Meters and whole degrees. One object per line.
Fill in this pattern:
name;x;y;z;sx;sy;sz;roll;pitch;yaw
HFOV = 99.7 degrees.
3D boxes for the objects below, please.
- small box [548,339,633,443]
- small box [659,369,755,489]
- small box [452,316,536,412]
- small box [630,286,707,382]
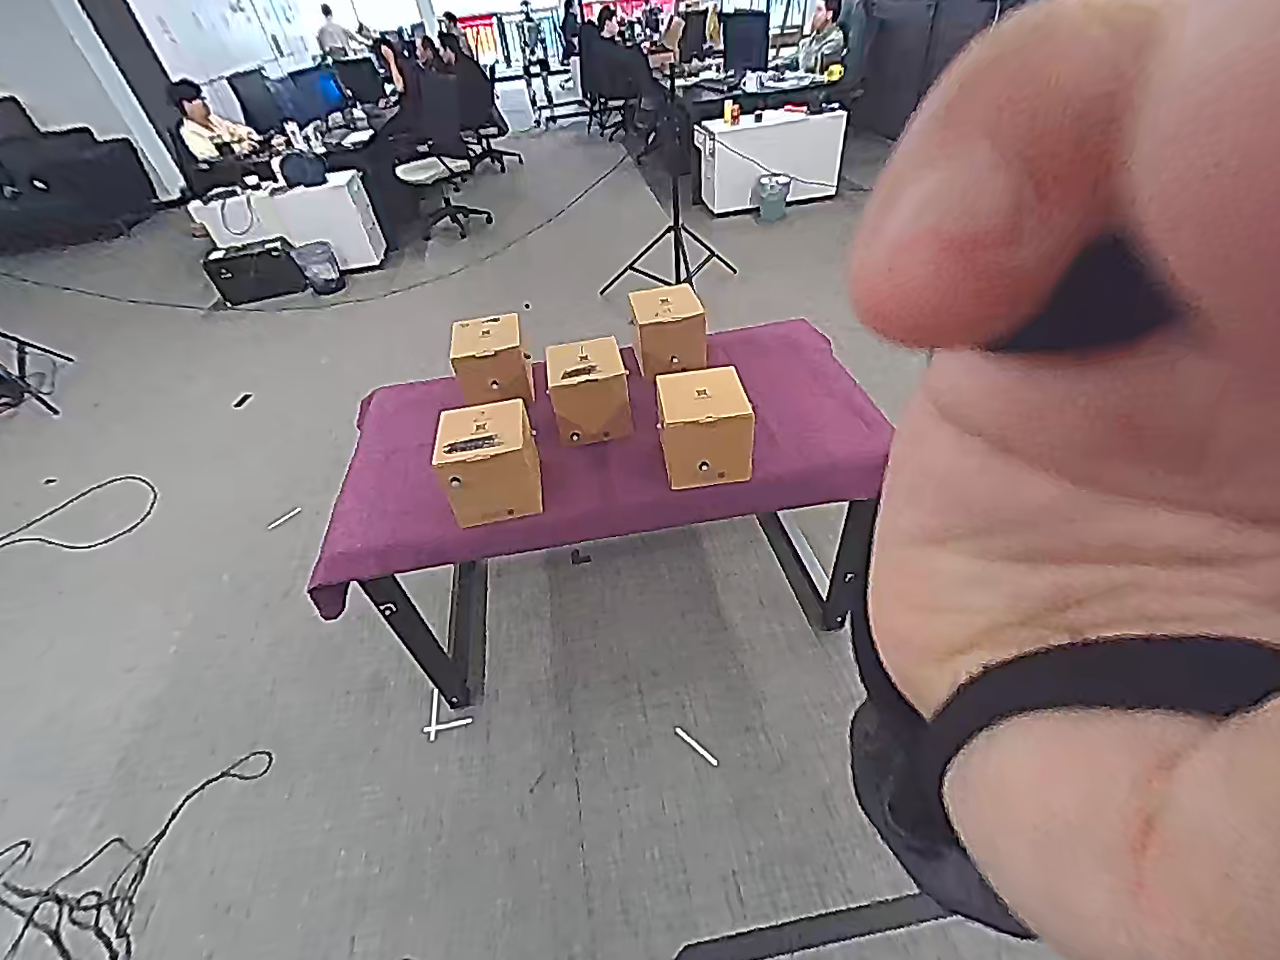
small box;-0.114;-0.199;1.247;0.168;0.176;0.179;-10;42;-3
small box;0.132;-0.105;1.113;0.168;0.176;0.179;-7;42;0
small box;-0.364;-0.288;1.371;0.168;0.176;0.179;-11;45;-5
small box;0.073;-0.380;1.411;0.168;0.176;0.179;-11;44;-3
